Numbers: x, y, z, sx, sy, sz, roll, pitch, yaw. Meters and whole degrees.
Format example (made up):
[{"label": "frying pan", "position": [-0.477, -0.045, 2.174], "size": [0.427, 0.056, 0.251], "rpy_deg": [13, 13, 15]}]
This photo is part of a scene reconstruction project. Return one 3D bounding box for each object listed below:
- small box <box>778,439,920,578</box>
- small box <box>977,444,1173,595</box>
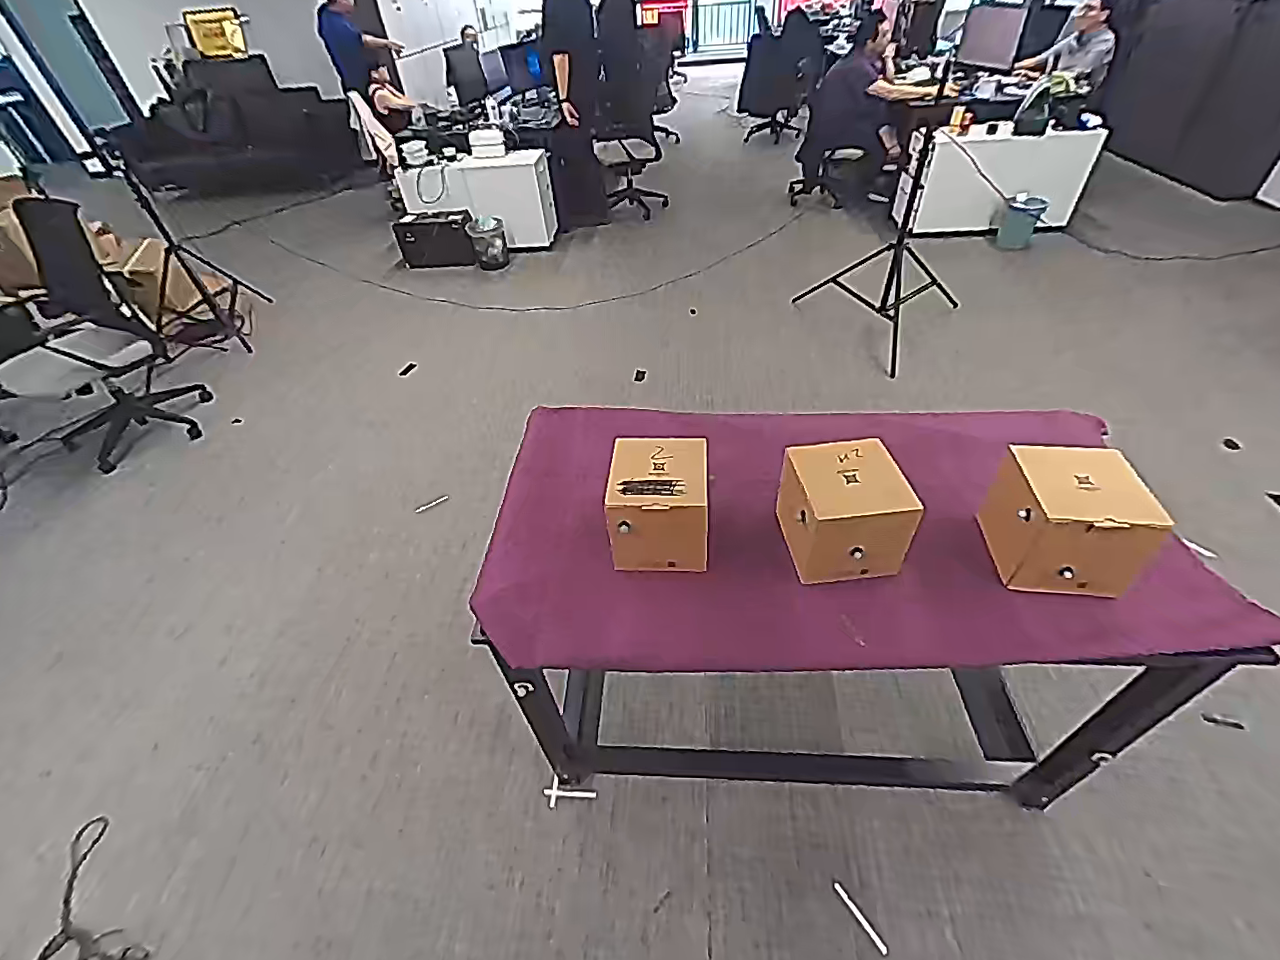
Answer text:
[{"label": "small box", "position": [0.344, 0.054, 0.929], "size": [0.168, 0.176, 0.179], "rpy_deg": [-6, 42, -1]}, {"label": "small box", "position": [0.686, 0.062, 0.885], "size": [0.168, 0.176, 0.179], "rpy_deg": [2, 42, 9]}]
